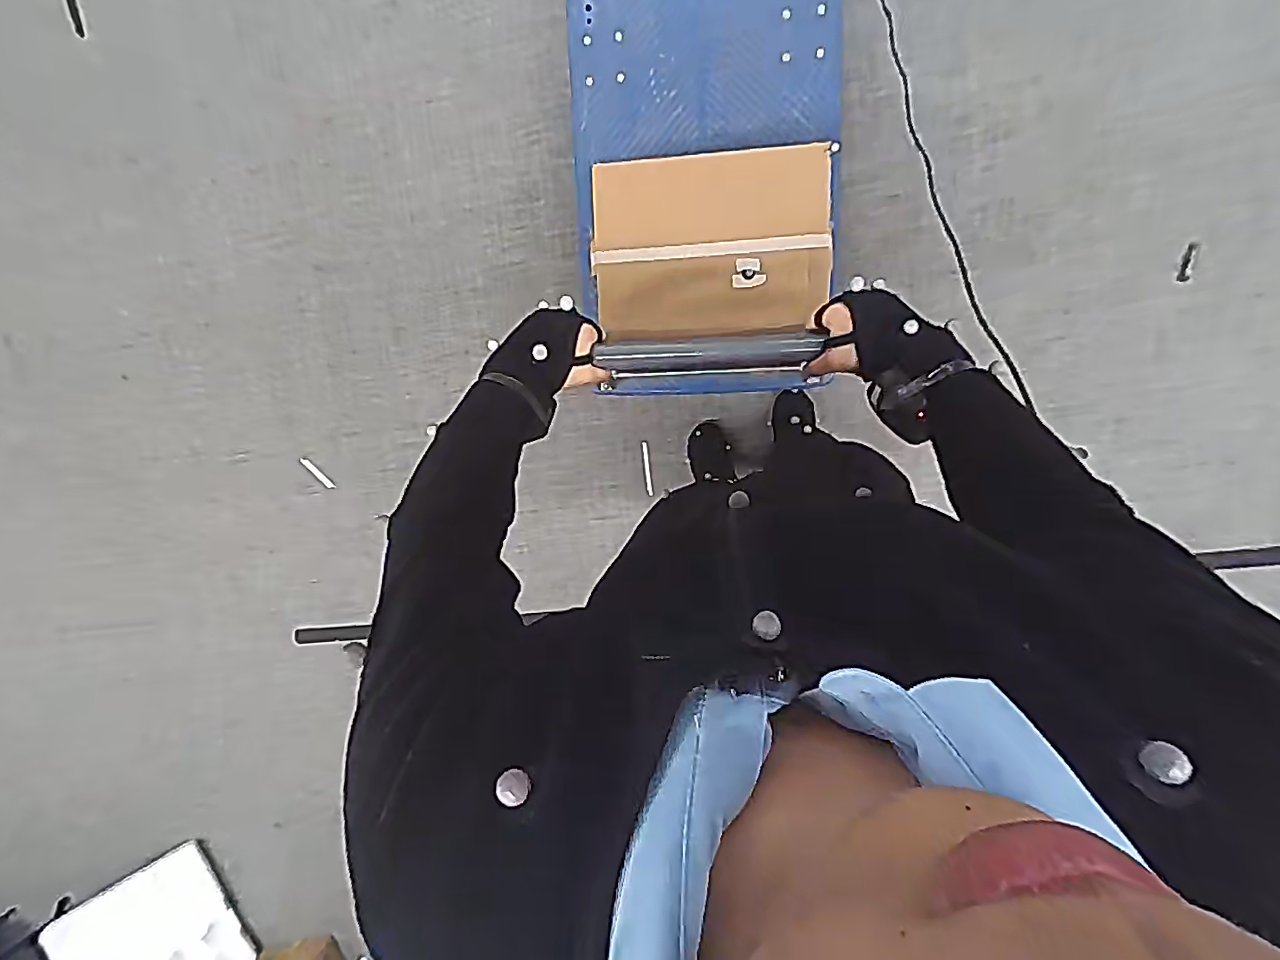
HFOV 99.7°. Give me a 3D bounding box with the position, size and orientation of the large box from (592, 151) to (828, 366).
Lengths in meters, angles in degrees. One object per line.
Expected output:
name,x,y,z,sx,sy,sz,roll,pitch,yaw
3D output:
large box,0.136,-0.406,1.081,0.408,0.320,0.320,-1,99,7
